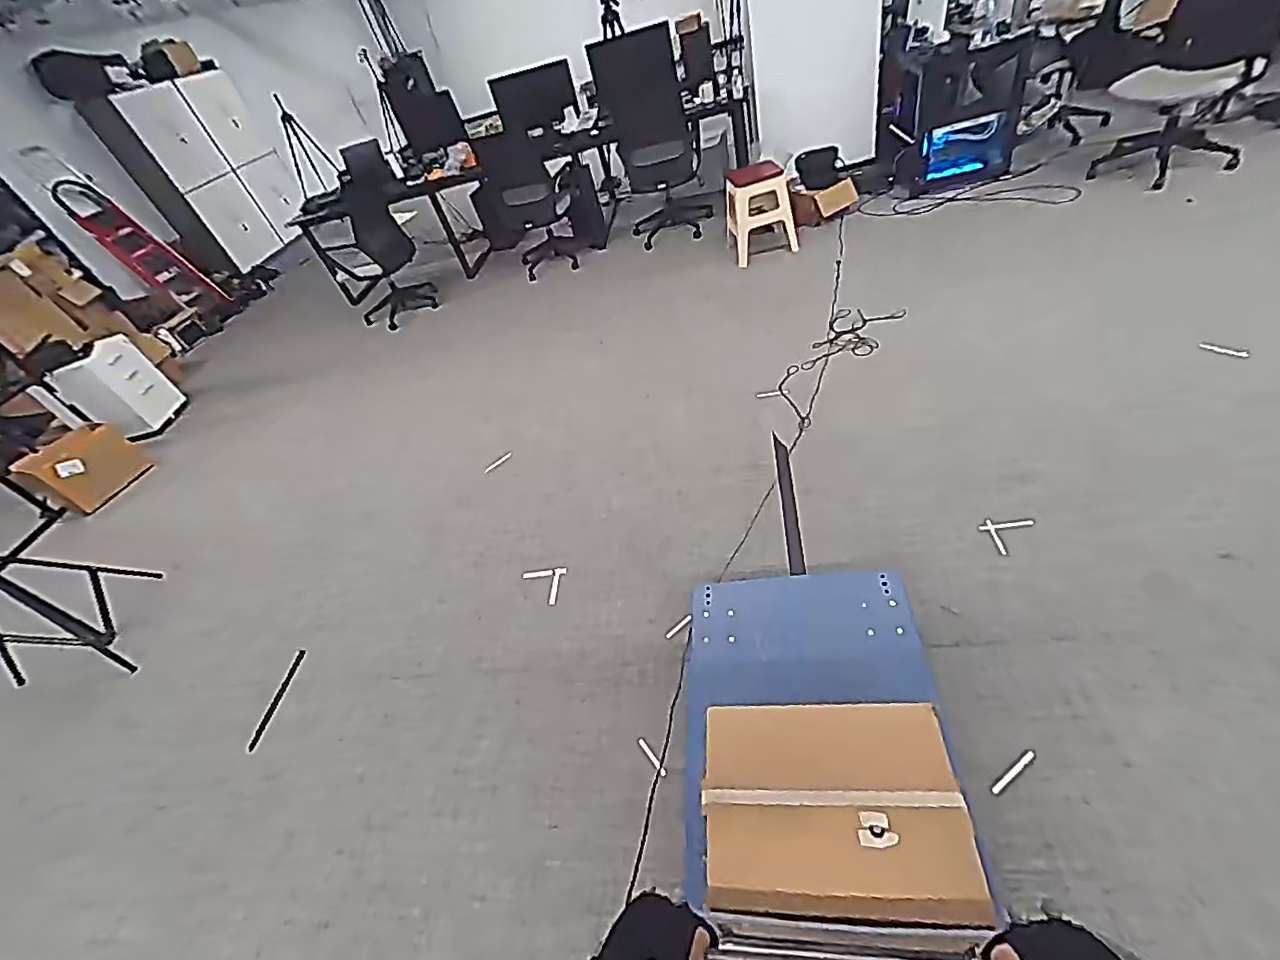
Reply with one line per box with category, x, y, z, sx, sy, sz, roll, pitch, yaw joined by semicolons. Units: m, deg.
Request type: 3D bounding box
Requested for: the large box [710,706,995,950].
large box;0.351;0.643;1.002;0.408;0.320;0.320;-7;44;13
